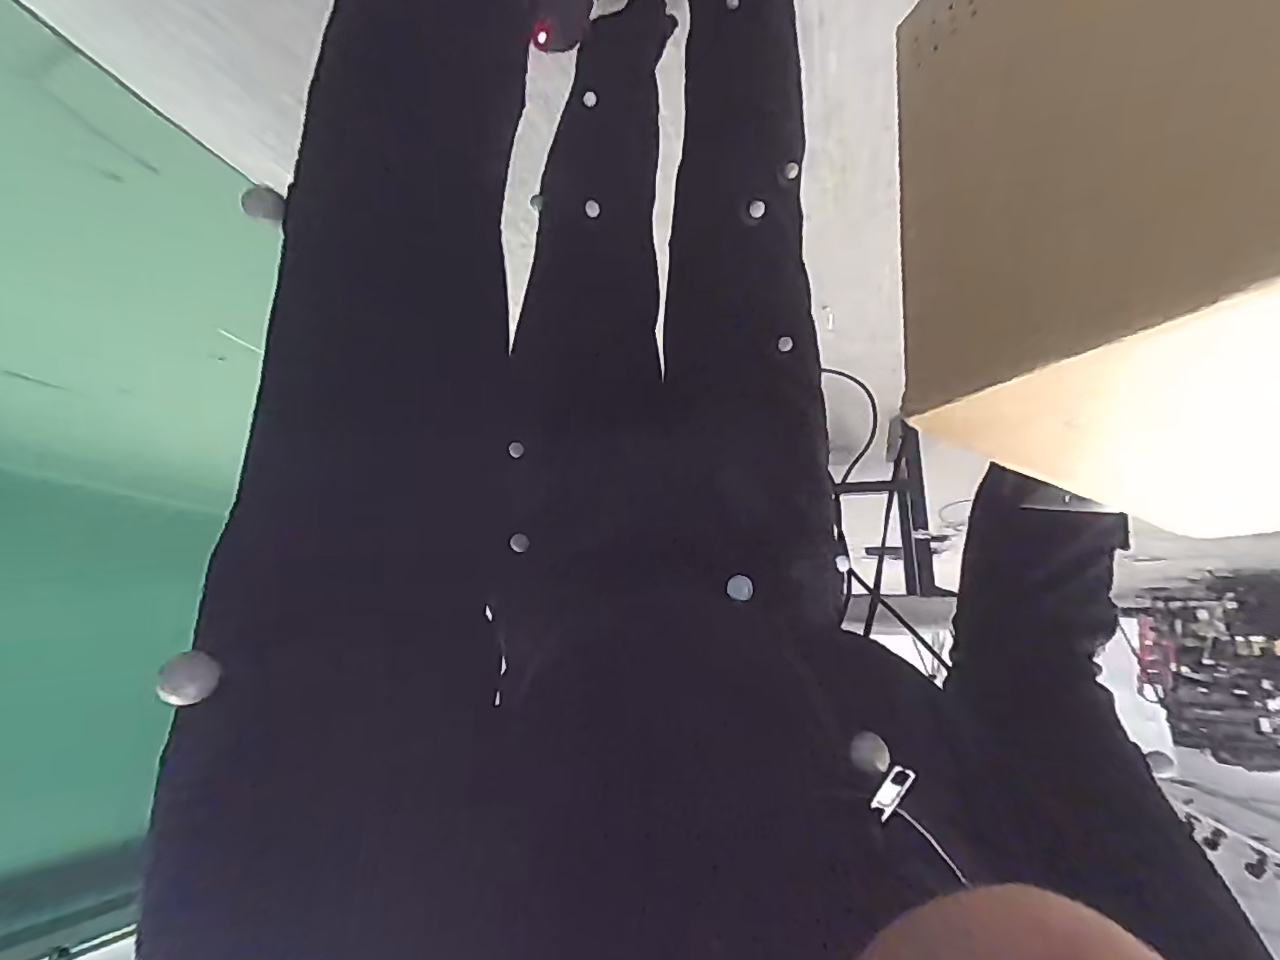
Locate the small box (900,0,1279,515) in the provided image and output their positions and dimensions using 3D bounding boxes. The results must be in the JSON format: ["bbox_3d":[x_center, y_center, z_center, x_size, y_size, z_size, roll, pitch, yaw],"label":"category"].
[{"bbox_3d":[0.194,-0.102,0.146,0.179,0.176,0.168,15,161,-23],"label":"small box"}]
